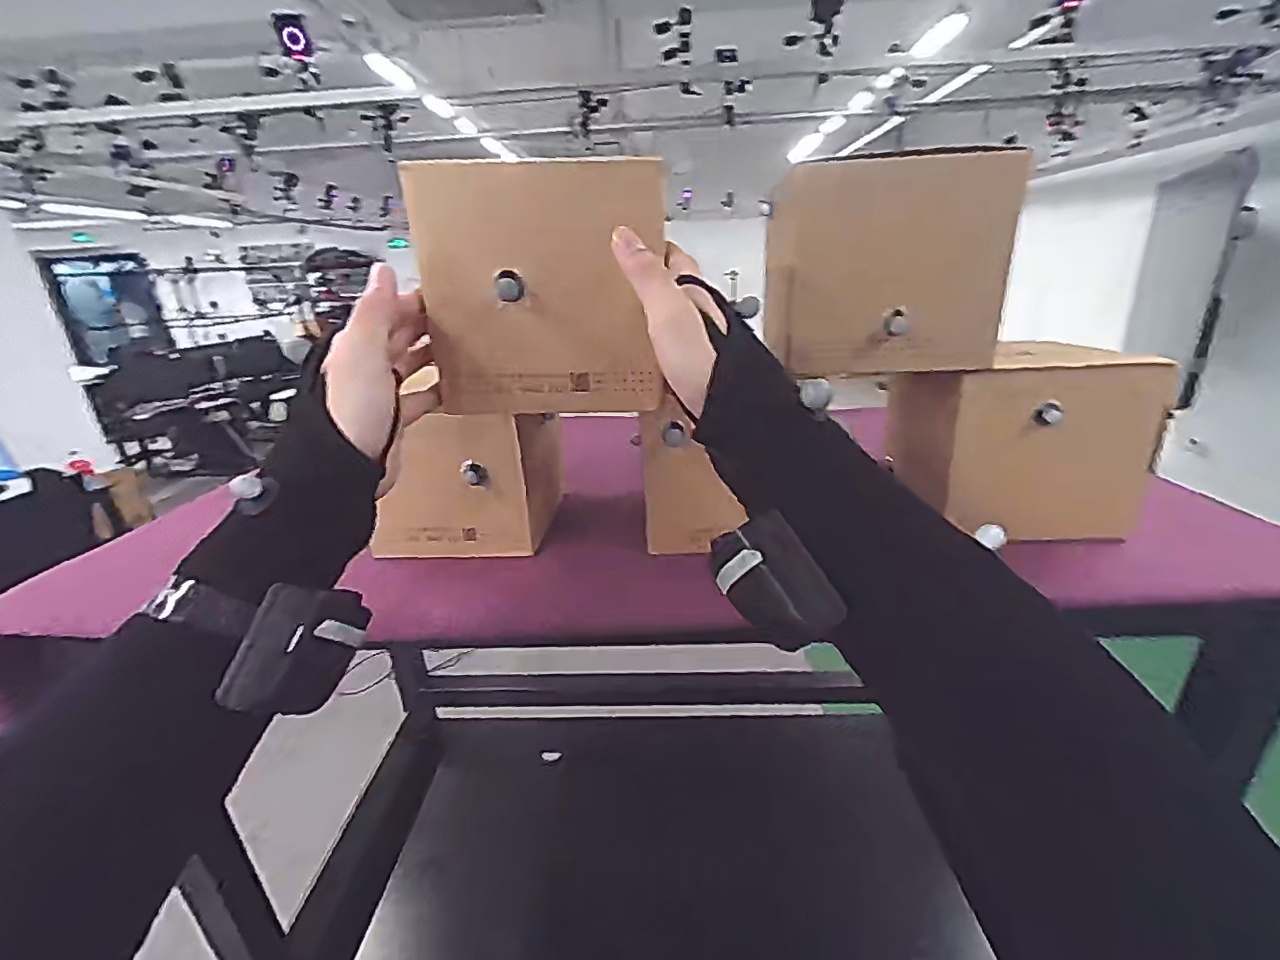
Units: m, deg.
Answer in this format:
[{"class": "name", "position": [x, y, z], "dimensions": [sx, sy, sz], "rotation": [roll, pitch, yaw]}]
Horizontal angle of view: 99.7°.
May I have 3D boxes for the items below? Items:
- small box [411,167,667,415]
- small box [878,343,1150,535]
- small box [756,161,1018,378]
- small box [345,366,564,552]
[{"class": "small box", "position": [-0.064, -0.157, 0.451], "dimensions": [0.168, 0.176, 0.179], "rotation": [-1, 27, -1]}, {"class": "small box", "position": [0.369, -0.048, 0.577], "dimensions": [0.179, 0.176, 0.168], "rotation": [-2, 21, 2]}, {"class": "small box", "position": [0.214, -0.196, 0.524], "dimensions": [0.179, 0.176, 0.168], "rotation": [-1, 20, 4]}, {"class": "small box", "position": [-0.182, -0.030, 0.596], "dimensions": [0.168, 0.176, 0.179], "rotation": [0, 21, 3]}]
